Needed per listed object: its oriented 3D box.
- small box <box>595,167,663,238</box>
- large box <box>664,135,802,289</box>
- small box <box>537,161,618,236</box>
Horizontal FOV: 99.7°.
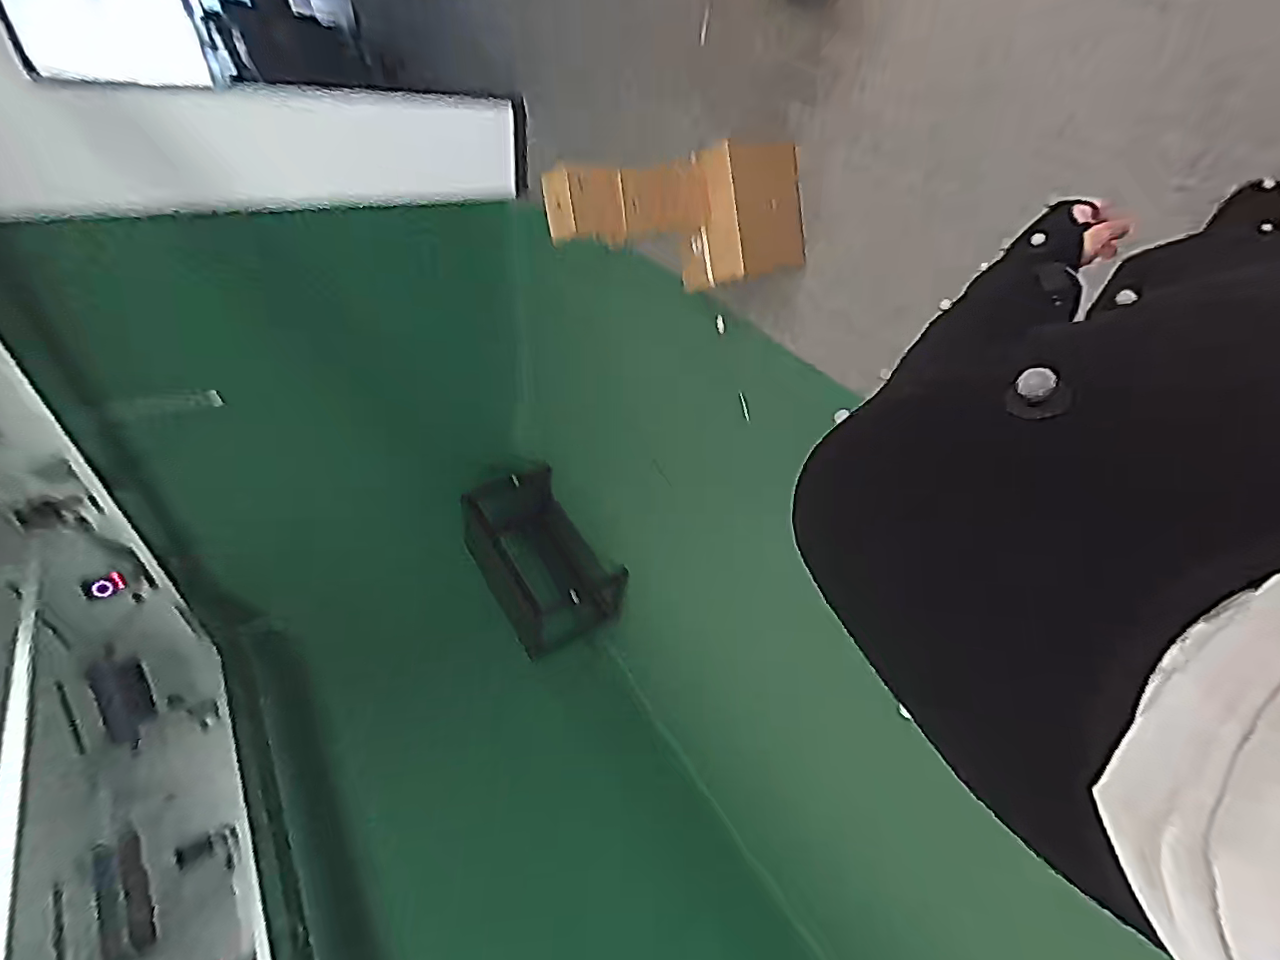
[{"bbox_3d":[-0.042,-0.871,1.698,0.168,0.176,0.179,21,124,51],"label":"small box"},{"bbox_3d":[0.328,-0.922,1.887,0.320,0.320,0.408,12,119,56],"label":"large box"},{"bbox_3d":[-0.185,-0.838,1.620,0.168,0.176,0.179,22,125,52],"label":"small box"}]
